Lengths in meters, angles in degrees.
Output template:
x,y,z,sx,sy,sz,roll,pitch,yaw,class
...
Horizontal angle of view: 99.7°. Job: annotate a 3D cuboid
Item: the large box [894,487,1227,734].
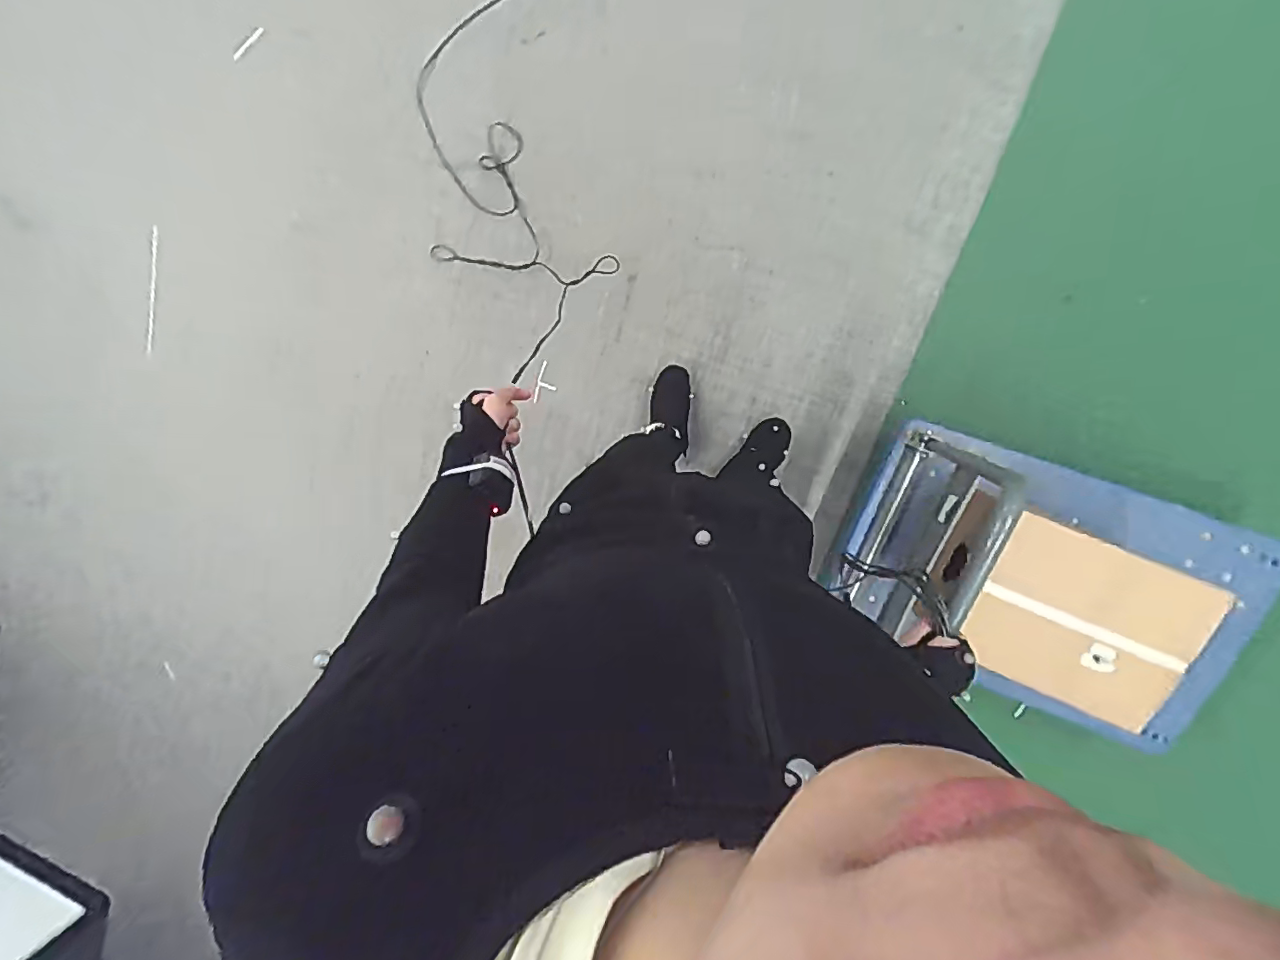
x,y,z,sx,sy,sz,roll,pitch,yaw,class
0.837,0.247,1.159,0.408,0.320,0.320,23,104,6,large box
